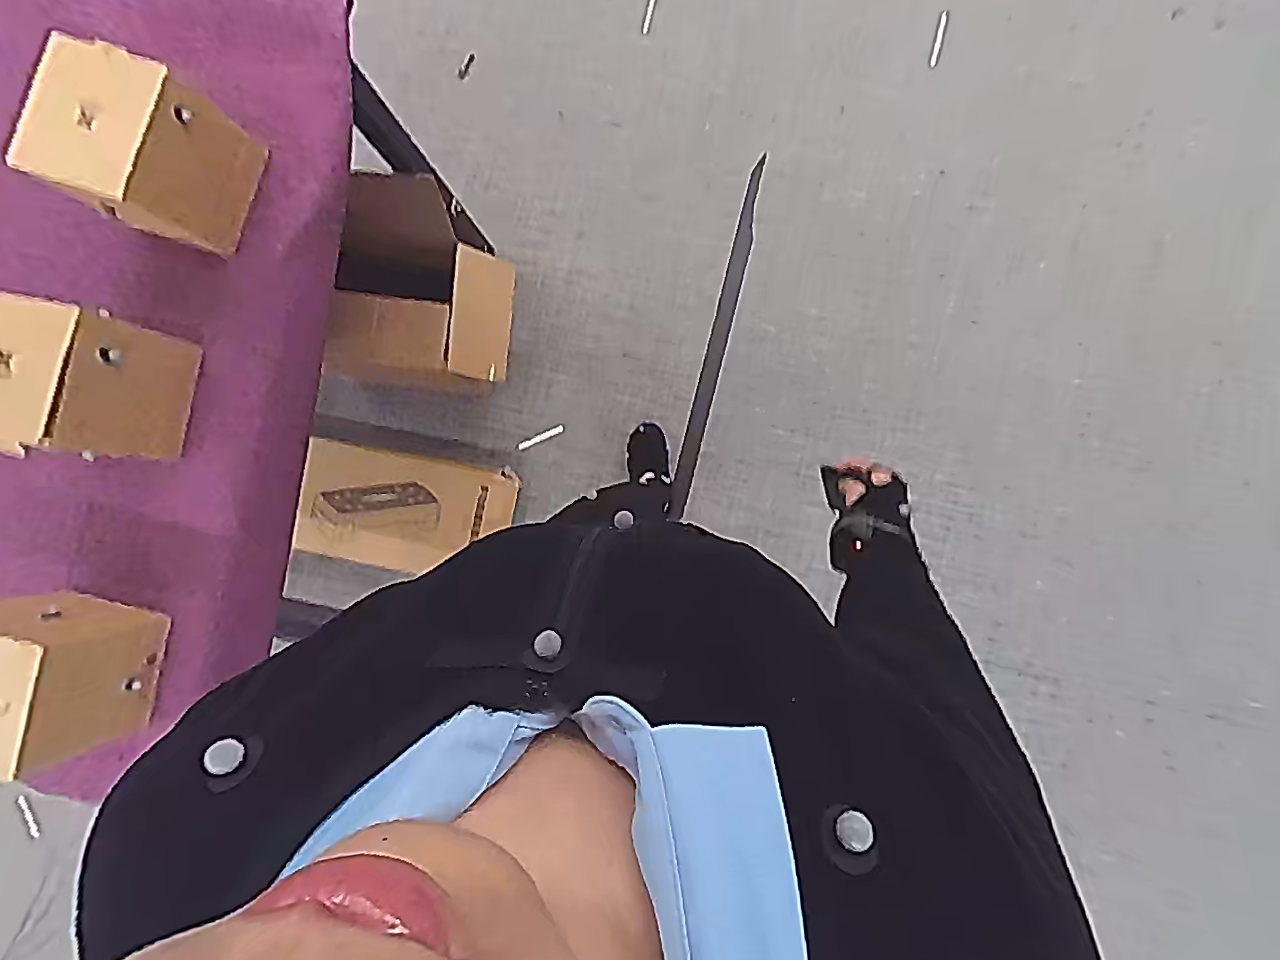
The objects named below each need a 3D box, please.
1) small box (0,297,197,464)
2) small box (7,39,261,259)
[{"bbox_3d":[-0.751,-0.126,0.727,0.168,0.176,0.179,11,88,7],"label":"small box"},{"bbox_3d":[-0.666,-0.433,0.736,0.168,0.176,0.179,18,88,4],"label":"small box"}]
